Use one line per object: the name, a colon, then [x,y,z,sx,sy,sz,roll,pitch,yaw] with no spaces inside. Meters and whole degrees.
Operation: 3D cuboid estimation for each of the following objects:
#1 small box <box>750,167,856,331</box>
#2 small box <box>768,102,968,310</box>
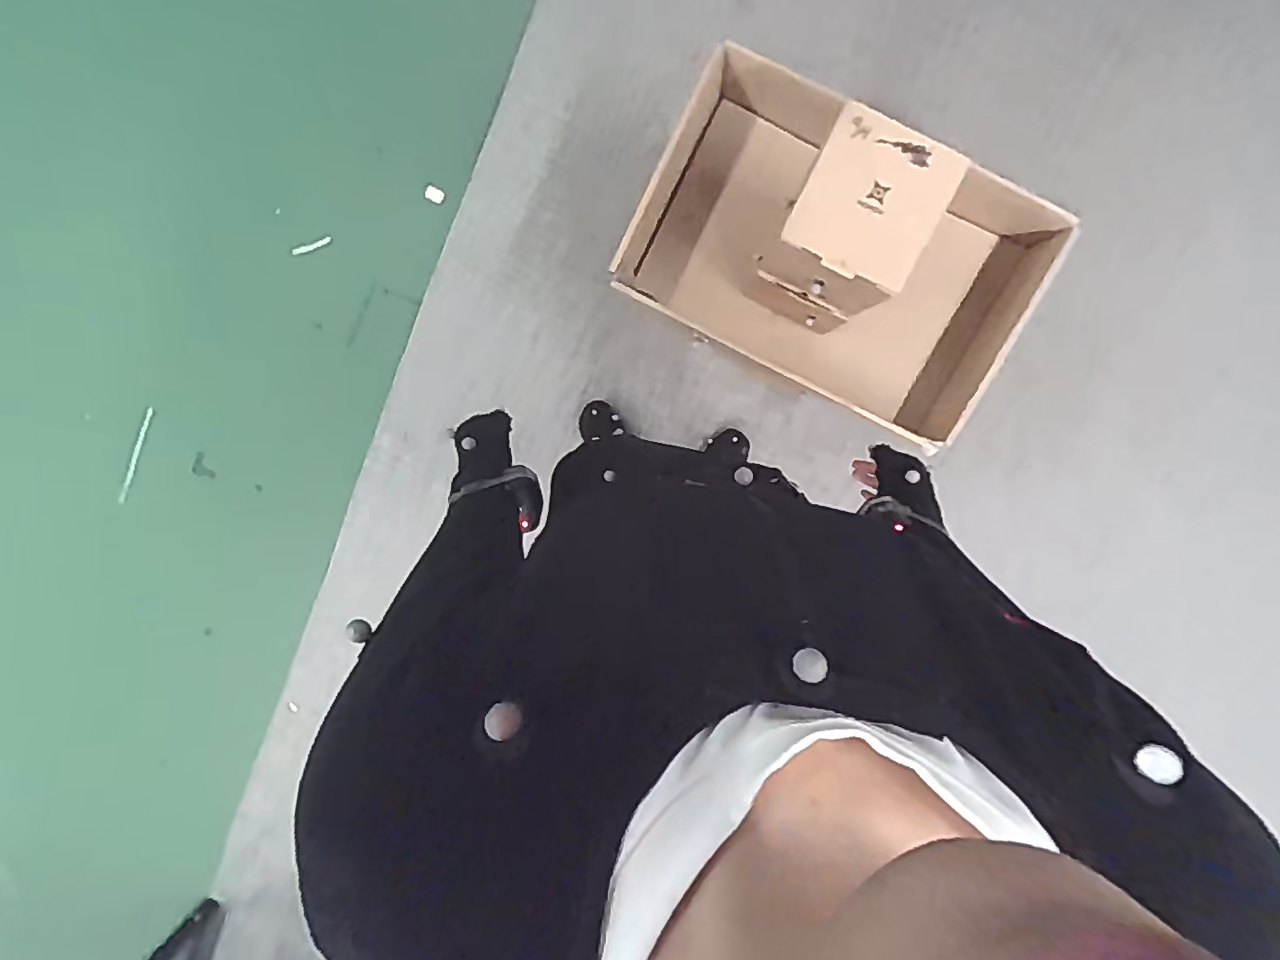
small box: [0.296,-0.367,0.899,0.168,0.176,0.179,26,97,0]
small box: [0.289,-0.351,0.736,0.168,0.176,0.179,27,100,0]
